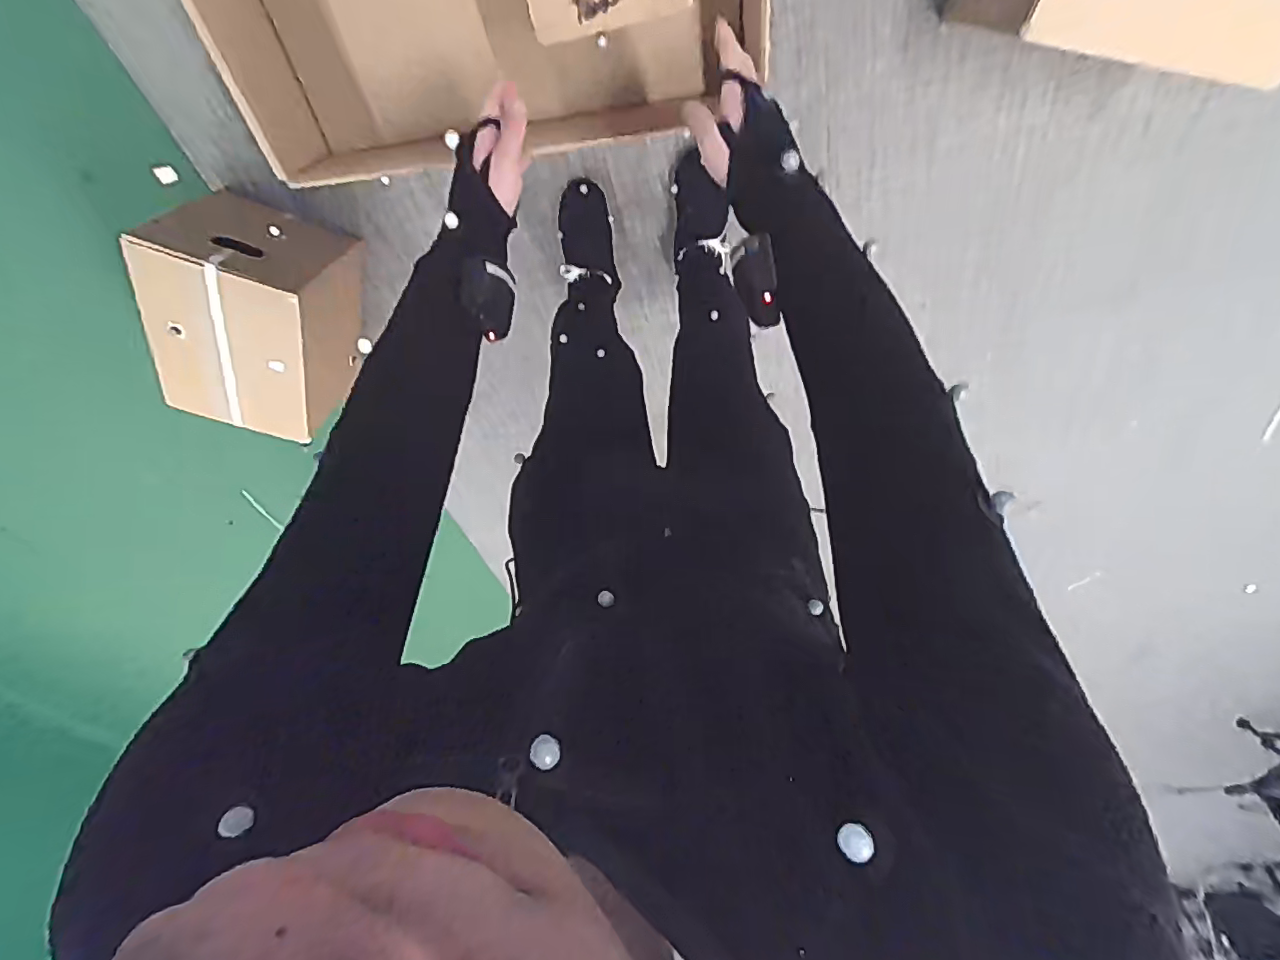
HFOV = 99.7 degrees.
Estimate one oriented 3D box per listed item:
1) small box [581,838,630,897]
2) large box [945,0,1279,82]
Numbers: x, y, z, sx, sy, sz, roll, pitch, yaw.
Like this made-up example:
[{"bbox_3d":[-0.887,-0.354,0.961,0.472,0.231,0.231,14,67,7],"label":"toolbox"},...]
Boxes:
[{"bbox_3d":[-0.135,1.576,2.196,0.168,0.176,0.179,-7,133,7],"label":"small box"},{"bbox_3d":[0.752,-0.814,0.775,0.408,0.320,0.320,8,133,-4],"label":"large box"}]
